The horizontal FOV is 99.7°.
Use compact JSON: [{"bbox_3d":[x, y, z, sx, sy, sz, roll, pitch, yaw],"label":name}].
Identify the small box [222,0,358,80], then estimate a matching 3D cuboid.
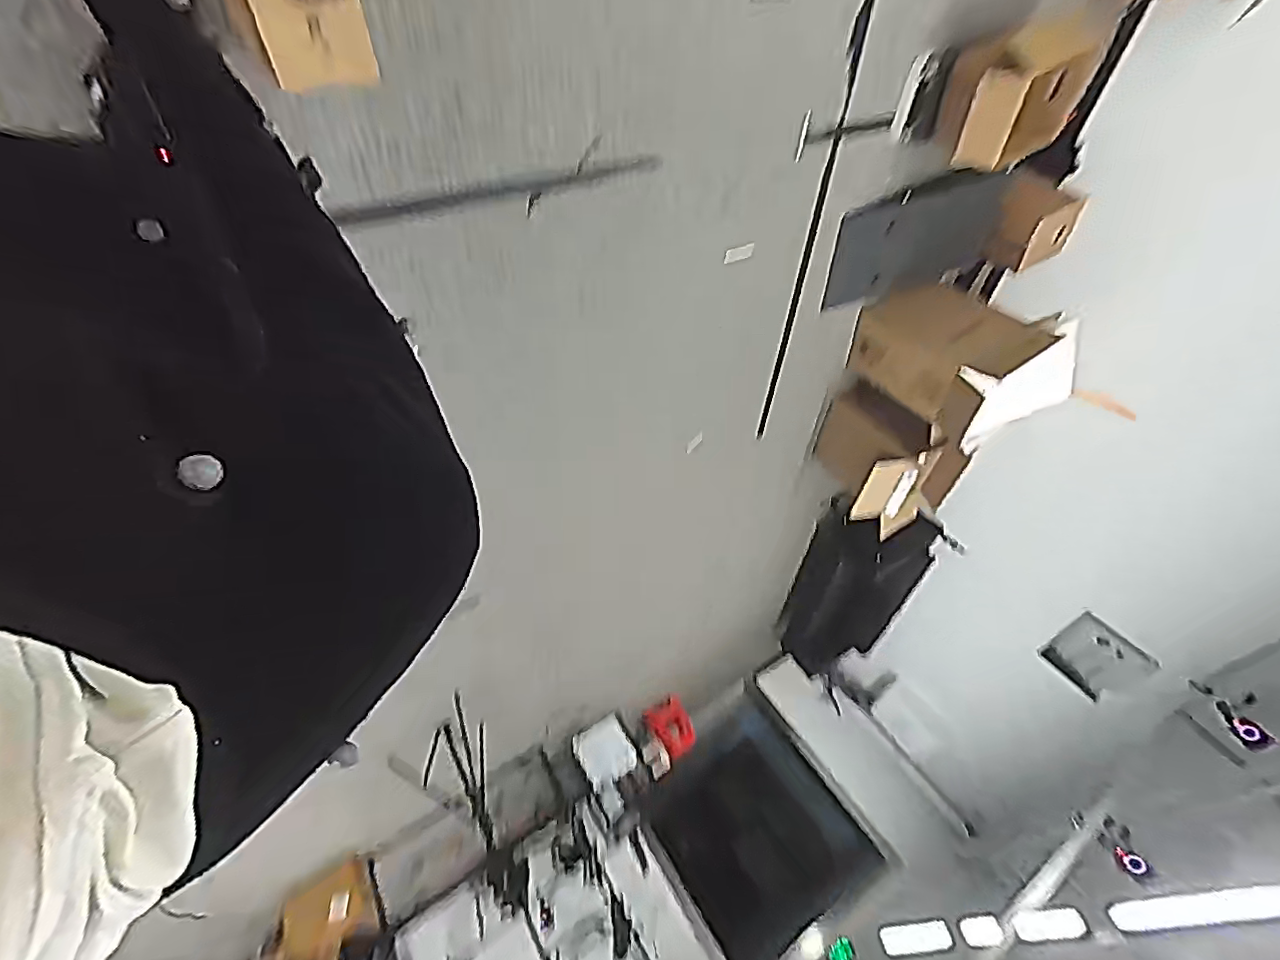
[{"bbox_3d":[-0.664,-0.873,1.008,0.179,0.176,0.168,-26,143,-21],"label":"small box"}]
